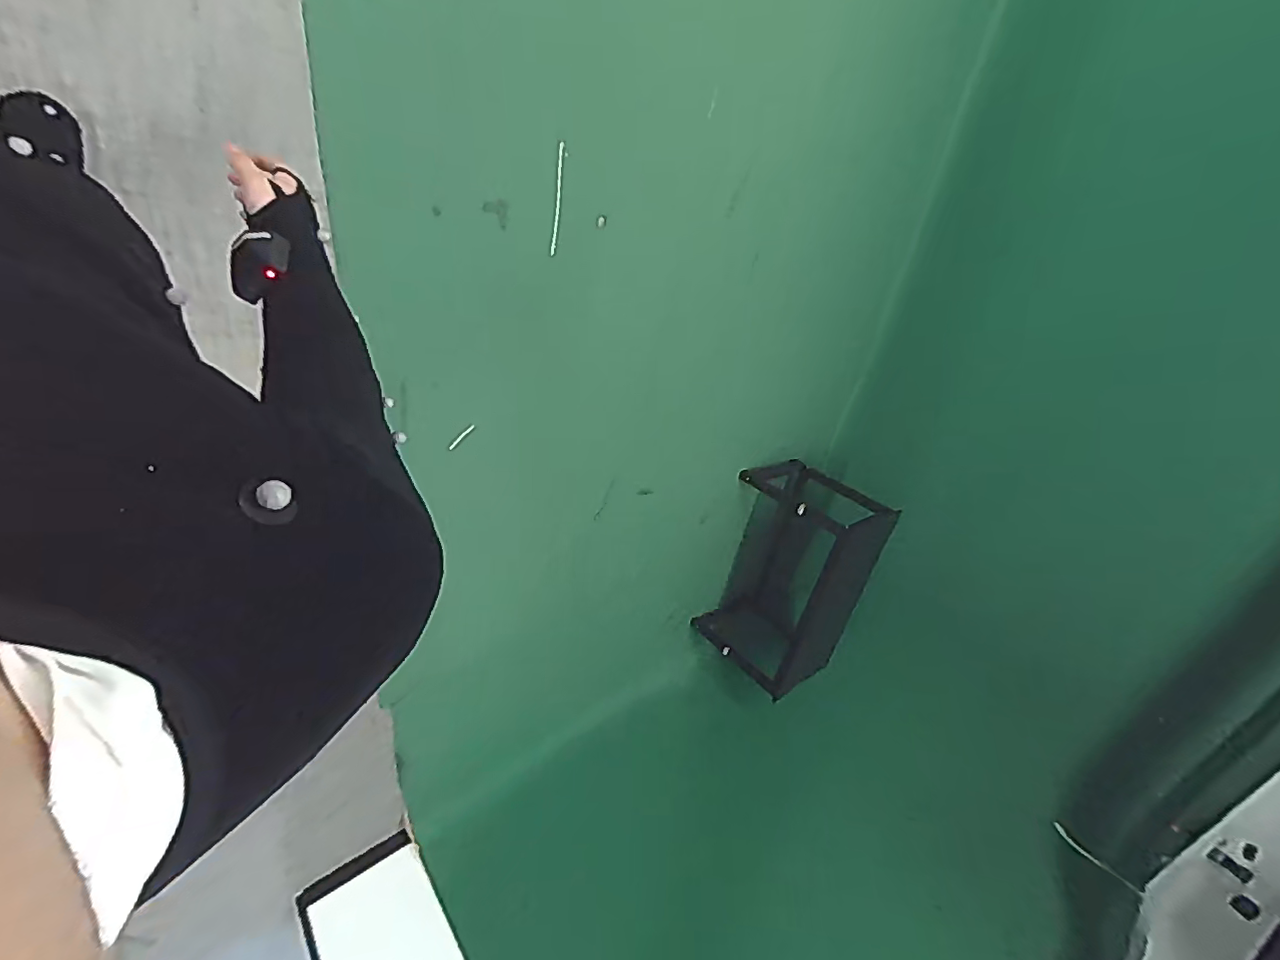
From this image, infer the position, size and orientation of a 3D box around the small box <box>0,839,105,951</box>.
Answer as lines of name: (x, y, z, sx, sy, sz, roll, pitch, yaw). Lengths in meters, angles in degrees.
small box: (-1.103, 0.791, 0.966, 0.168, 0.176, 0.179, -19, 131, -38)

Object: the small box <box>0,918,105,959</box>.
small box: (-0.995, 0.868, 0.872, 0.168, 0.176, 0.179, -18, 130, -39)
